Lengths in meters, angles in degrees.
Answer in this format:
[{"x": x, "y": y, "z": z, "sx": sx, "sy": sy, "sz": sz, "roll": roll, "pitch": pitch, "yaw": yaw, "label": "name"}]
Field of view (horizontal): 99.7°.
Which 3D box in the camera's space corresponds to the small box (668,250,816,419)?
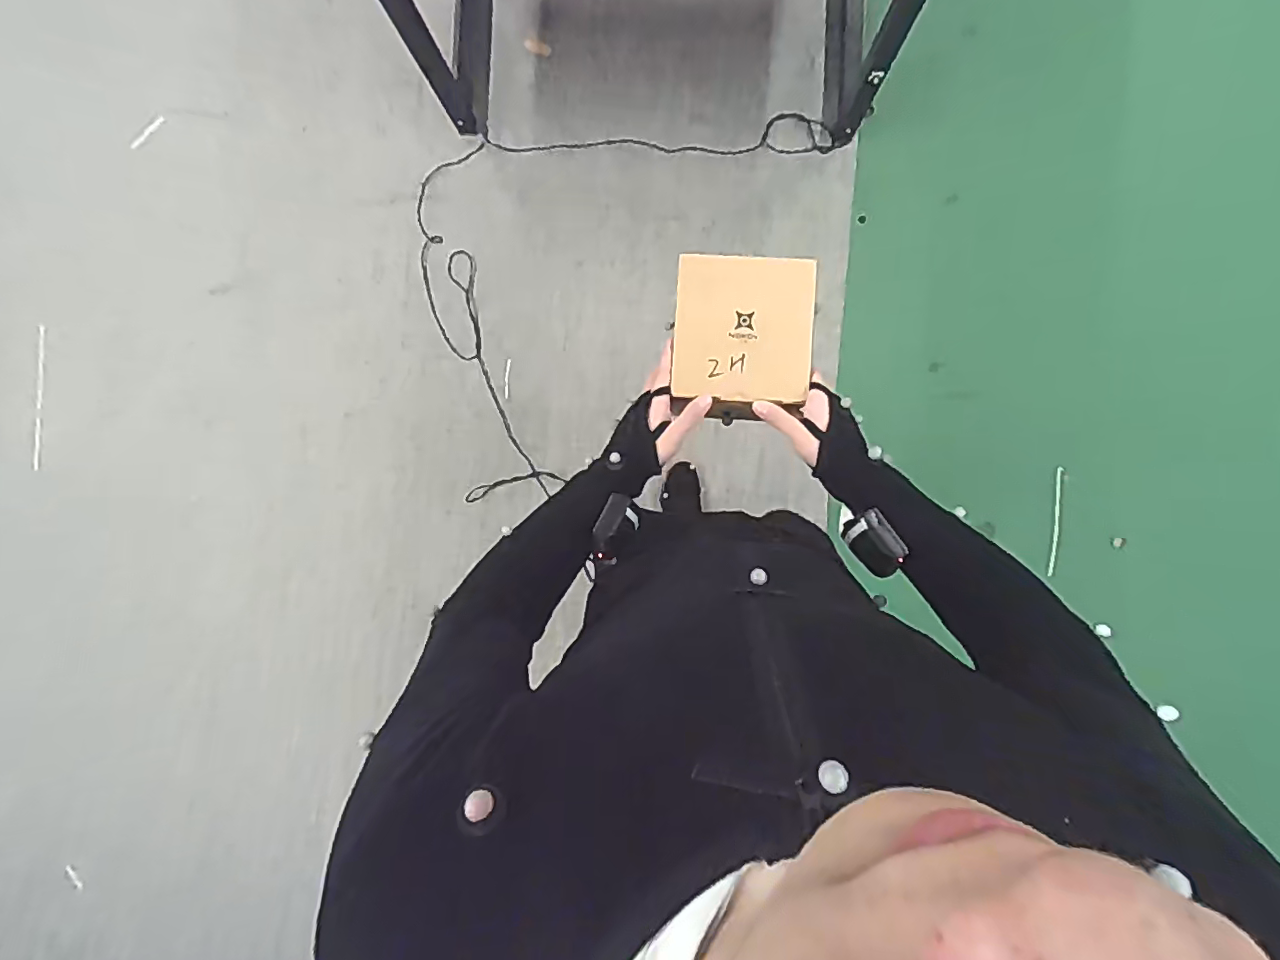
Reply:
[{"x": 0.126, "y": -0.184, "z": 0.725, "sx": 0.168, "sy": 0.176, "sz": 0.179, "roll": 4, "pitch": 90, "yaw": 3, "label": "small box"}]
